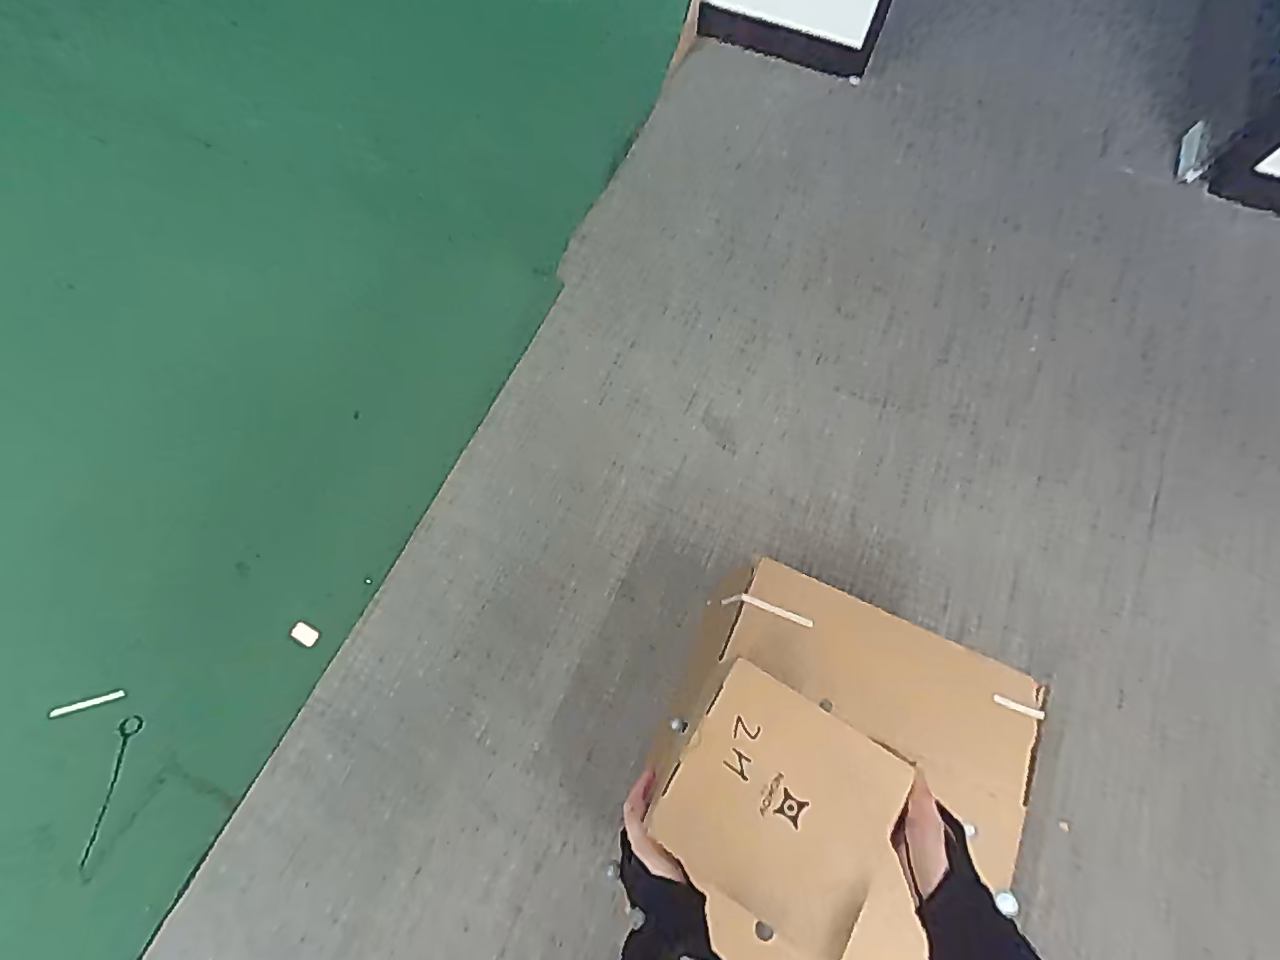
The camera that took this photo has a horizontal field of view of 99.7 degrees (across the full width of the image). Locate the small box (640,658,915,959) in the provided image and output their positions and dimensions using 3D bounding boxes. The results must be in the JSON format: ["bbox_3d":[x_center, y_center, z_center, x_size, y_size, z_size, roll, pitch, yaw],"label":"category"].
[{"bbox_3d":[0.116,0.293,0.521,0.179,0.176,0.168,32,72,13],"label":"small box"}]
